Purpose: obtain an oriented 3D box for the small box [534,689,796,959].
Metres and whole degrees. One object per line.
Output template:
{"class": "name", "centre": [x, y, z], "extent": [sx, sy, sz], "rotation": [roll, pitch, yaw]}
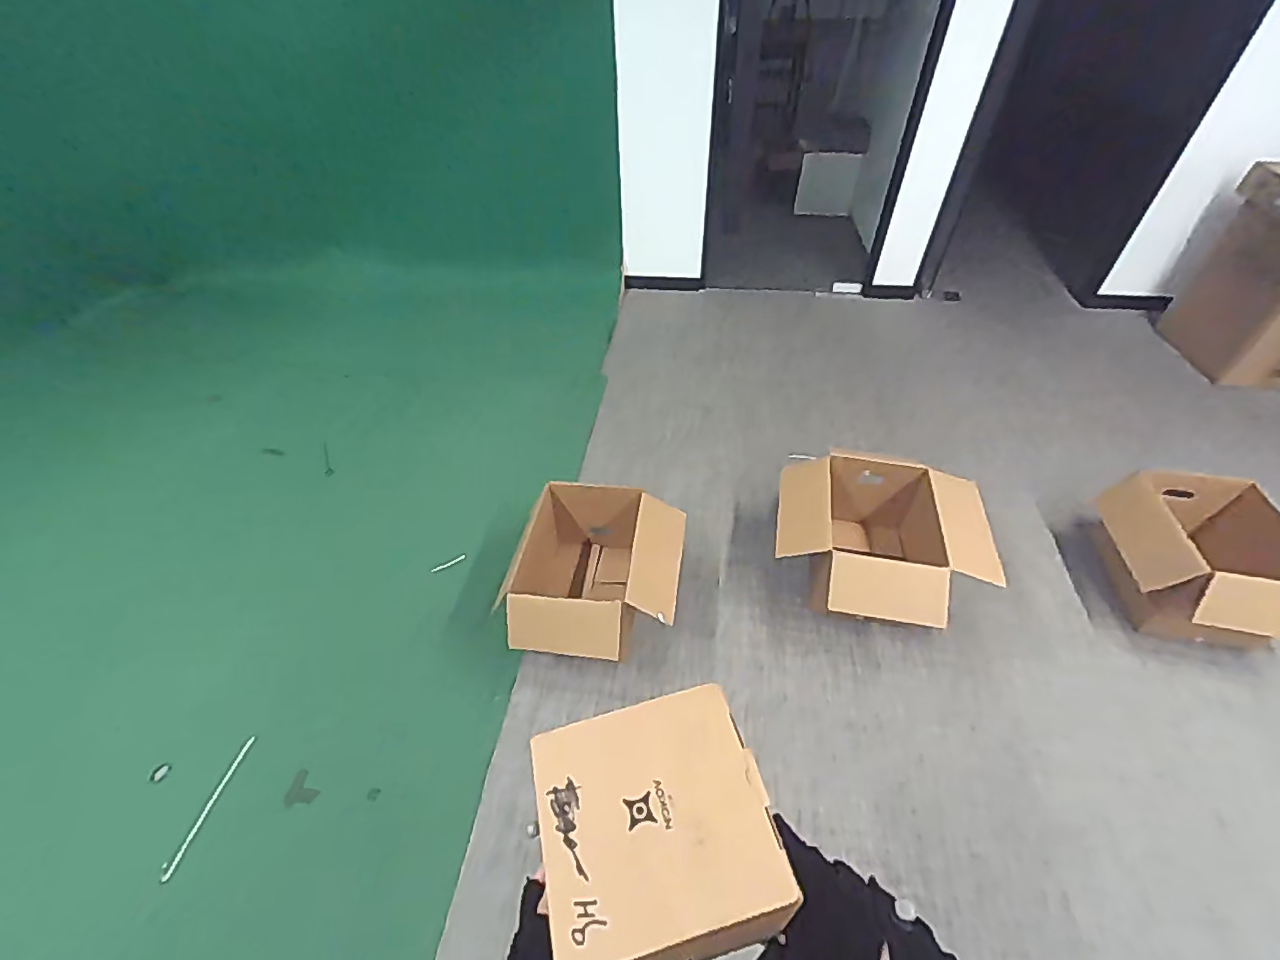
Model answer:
{"class": "small box", "centre": [0.013, 0.317, 0.479], "extent": [0.179, 0.176, 0.168], "rotation": [-12, 43, -7]}
